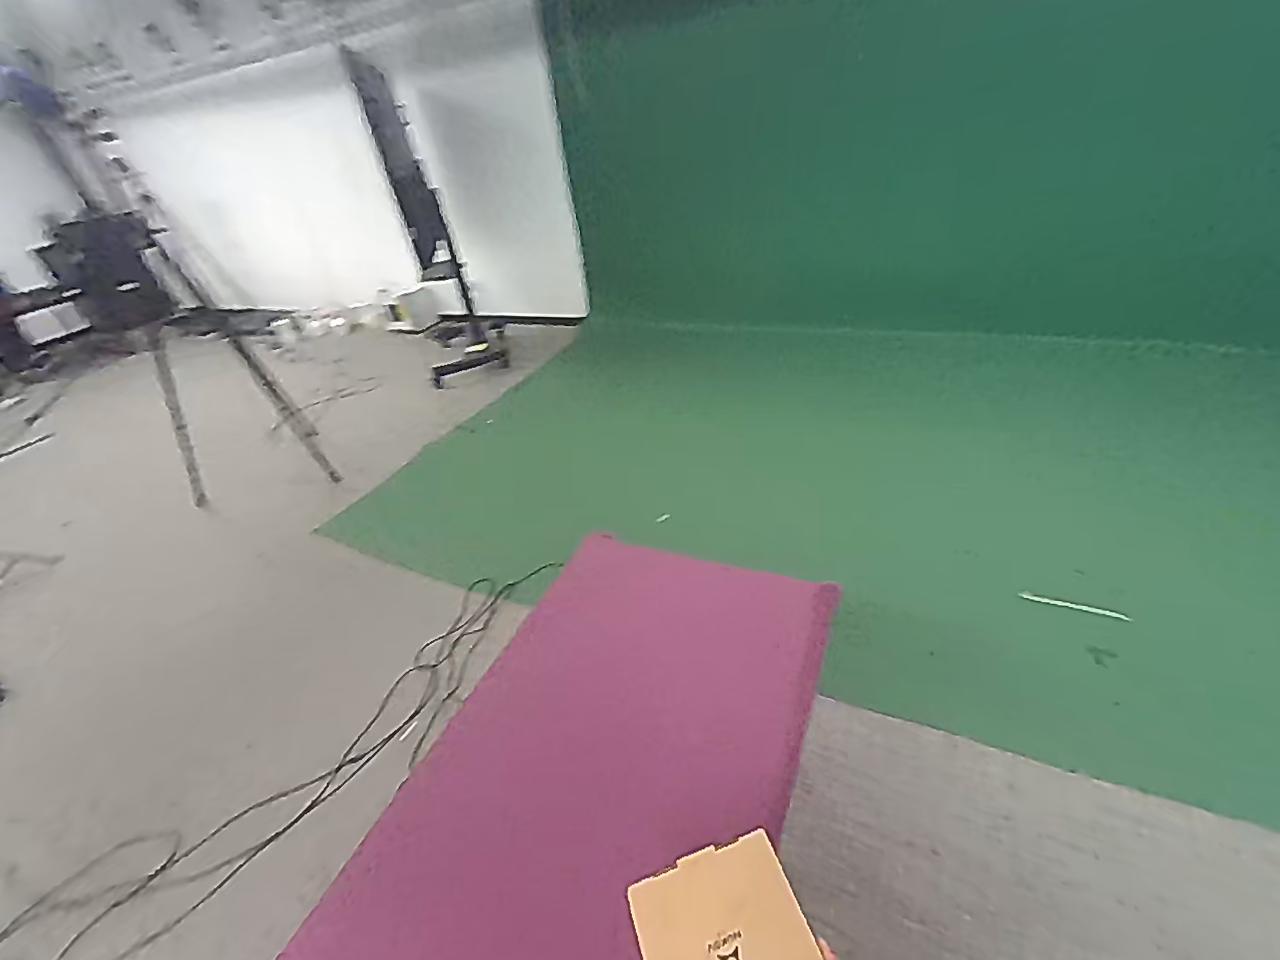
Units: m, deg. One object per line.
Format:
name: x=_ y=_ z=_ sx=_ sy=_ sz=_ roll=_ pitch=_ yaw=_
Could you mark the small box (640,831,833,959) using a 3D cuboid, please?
small box: x=0.109 y=0.520 z=0.570 sx=0.168 sy=0.176 sz=0.179 roll=-17 pitch=38 yaw=-7
